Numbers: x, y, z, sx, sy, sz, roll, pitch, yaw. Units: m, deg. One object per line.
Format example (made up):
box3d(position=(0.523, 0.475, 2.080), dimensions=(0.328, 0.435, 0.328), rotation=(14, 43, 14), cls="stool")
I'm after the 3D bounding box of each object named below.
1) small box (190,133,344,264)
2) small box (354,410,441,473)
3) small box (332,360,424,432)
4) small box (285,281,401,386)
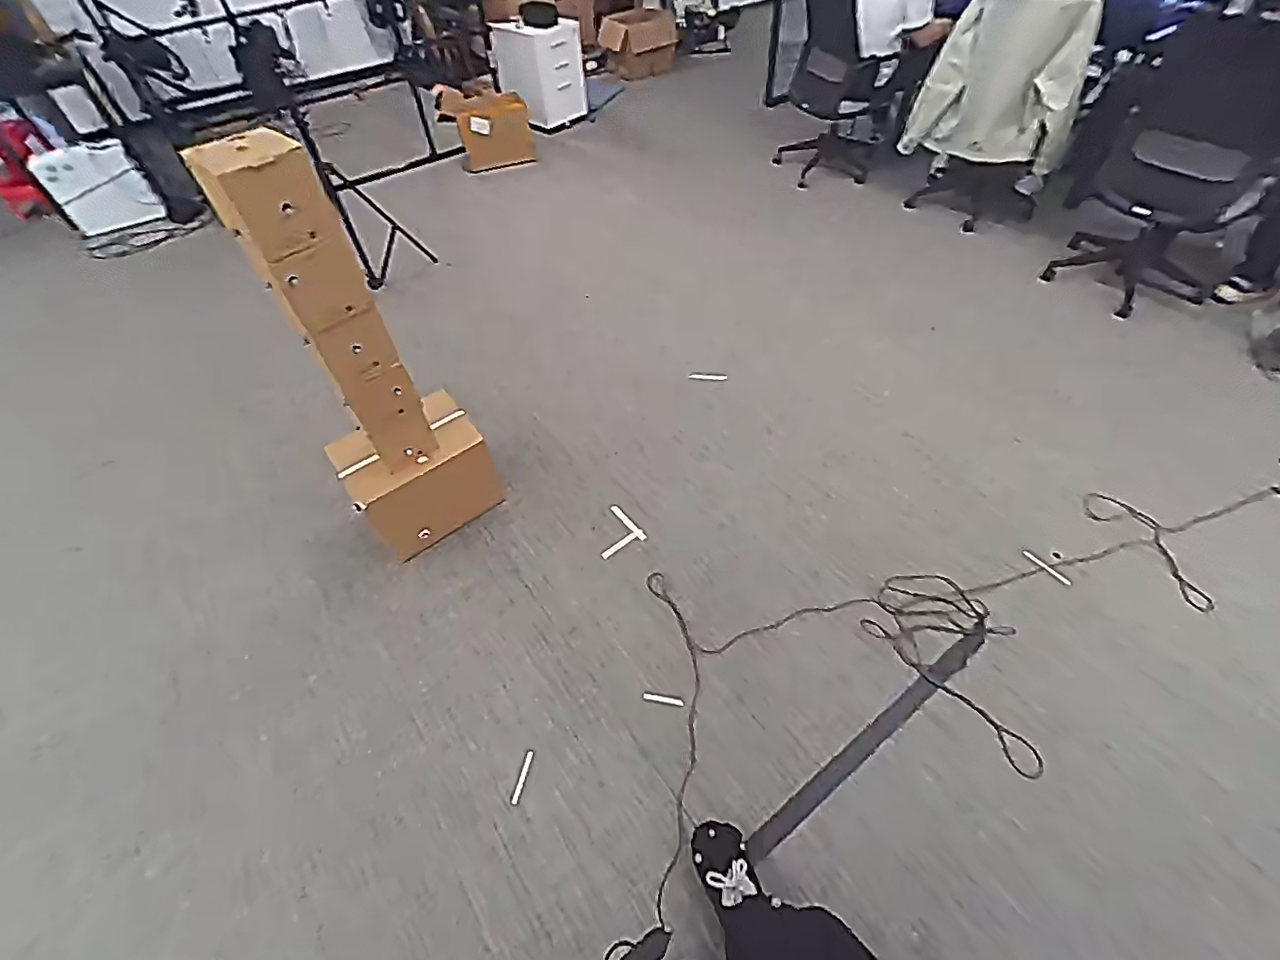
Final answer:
box3d(position=(-0.740, -0.563, 1.091), dimensions=(0.179, 0.176, 0.168), rotation=(35, 59, 25), cls="small box")
box3d(position=(-0.720, -0.153, 1.601), dimensions=(0.168, 0.176, 0.179), rotation=(-33, 57, -22), cls="small box")
box3d(position=(-0.720, -0.254, 1.474), dimensions=(0.168, 0.176, 0.179), rotation=(-34, 56, -24), cls="small box")
box3d(position=(-0.731, -0.358, 1.347), dimensions=(0.168, 0.176, 0.179), rotation=(-37, 59, -26), cls="small box")
